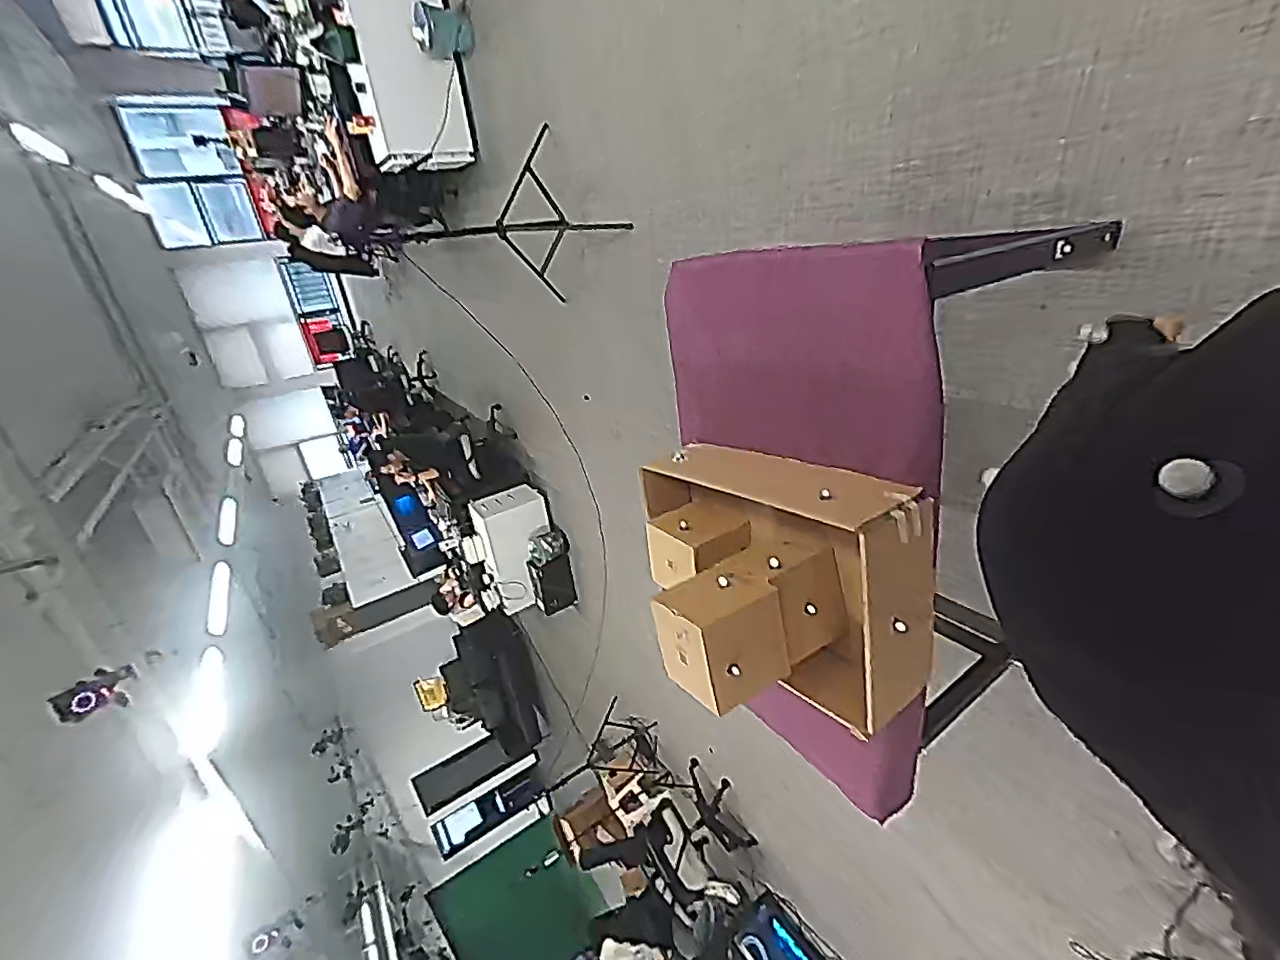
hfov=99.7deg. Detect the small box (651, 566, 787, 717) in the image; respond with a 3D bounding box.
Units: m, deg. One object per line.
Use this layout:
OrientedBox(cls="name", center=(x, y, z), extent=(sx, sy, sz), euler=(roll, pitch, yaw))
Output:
OrientedBox(cls="small box", center=(0.146, 0.281, 0.980), extent=(0.168, 0.176, 0.179), euler=(14, 120, 60))
